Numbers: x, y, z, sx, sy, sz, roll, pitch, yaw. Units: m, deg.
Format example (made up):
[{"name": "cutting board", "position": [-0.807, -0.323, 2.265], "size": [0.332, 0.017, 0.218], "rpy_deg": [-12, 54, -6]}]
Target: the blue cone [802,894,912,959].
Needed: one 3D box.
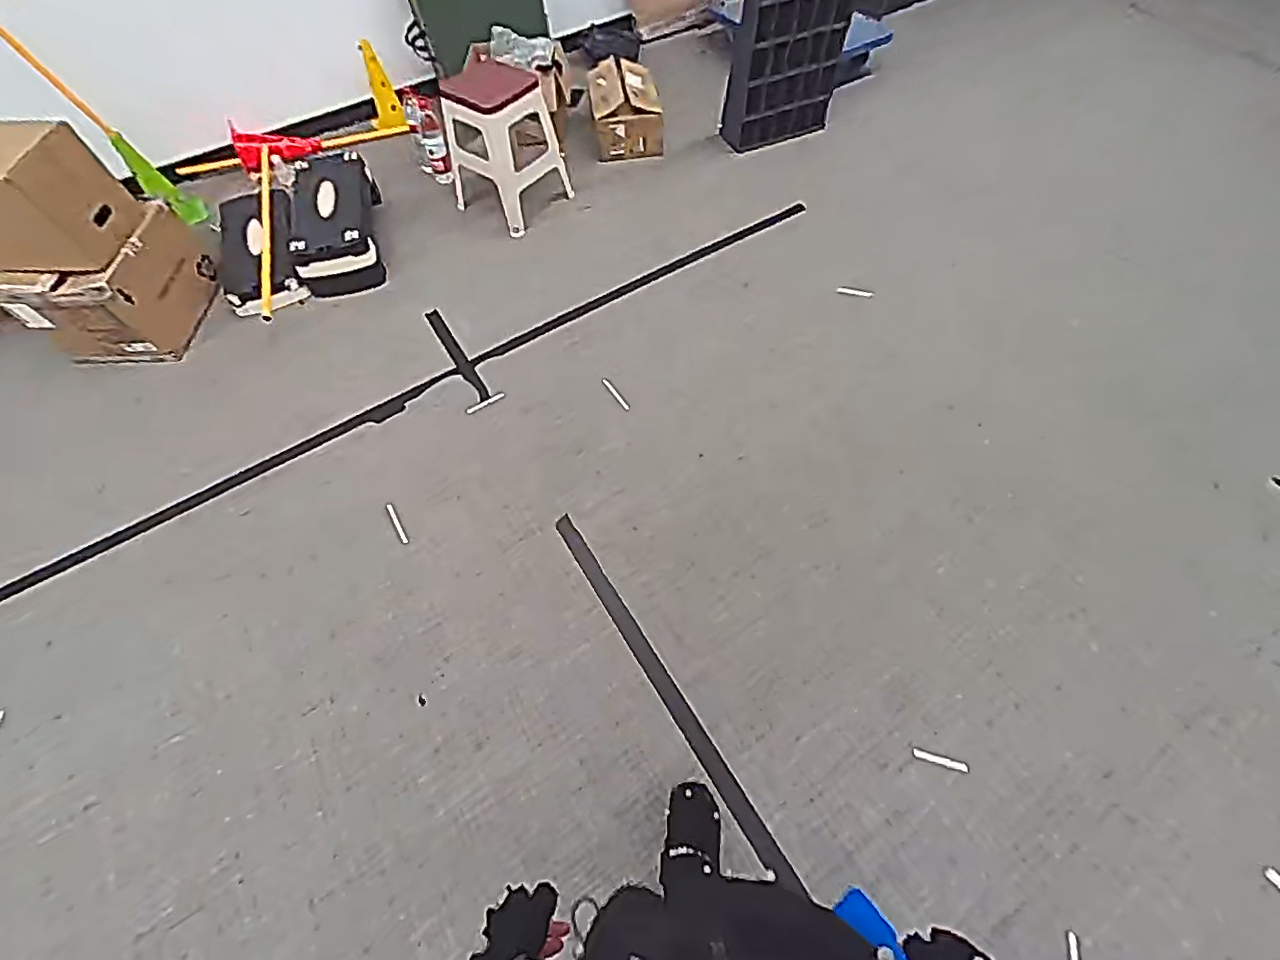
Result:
[{"name": "blue cone", "position": [0.435, 0.878, 0.924], "size": [0.192, 0.380, 0.193], "rpy_deg": [-33, 64, -17]}]
